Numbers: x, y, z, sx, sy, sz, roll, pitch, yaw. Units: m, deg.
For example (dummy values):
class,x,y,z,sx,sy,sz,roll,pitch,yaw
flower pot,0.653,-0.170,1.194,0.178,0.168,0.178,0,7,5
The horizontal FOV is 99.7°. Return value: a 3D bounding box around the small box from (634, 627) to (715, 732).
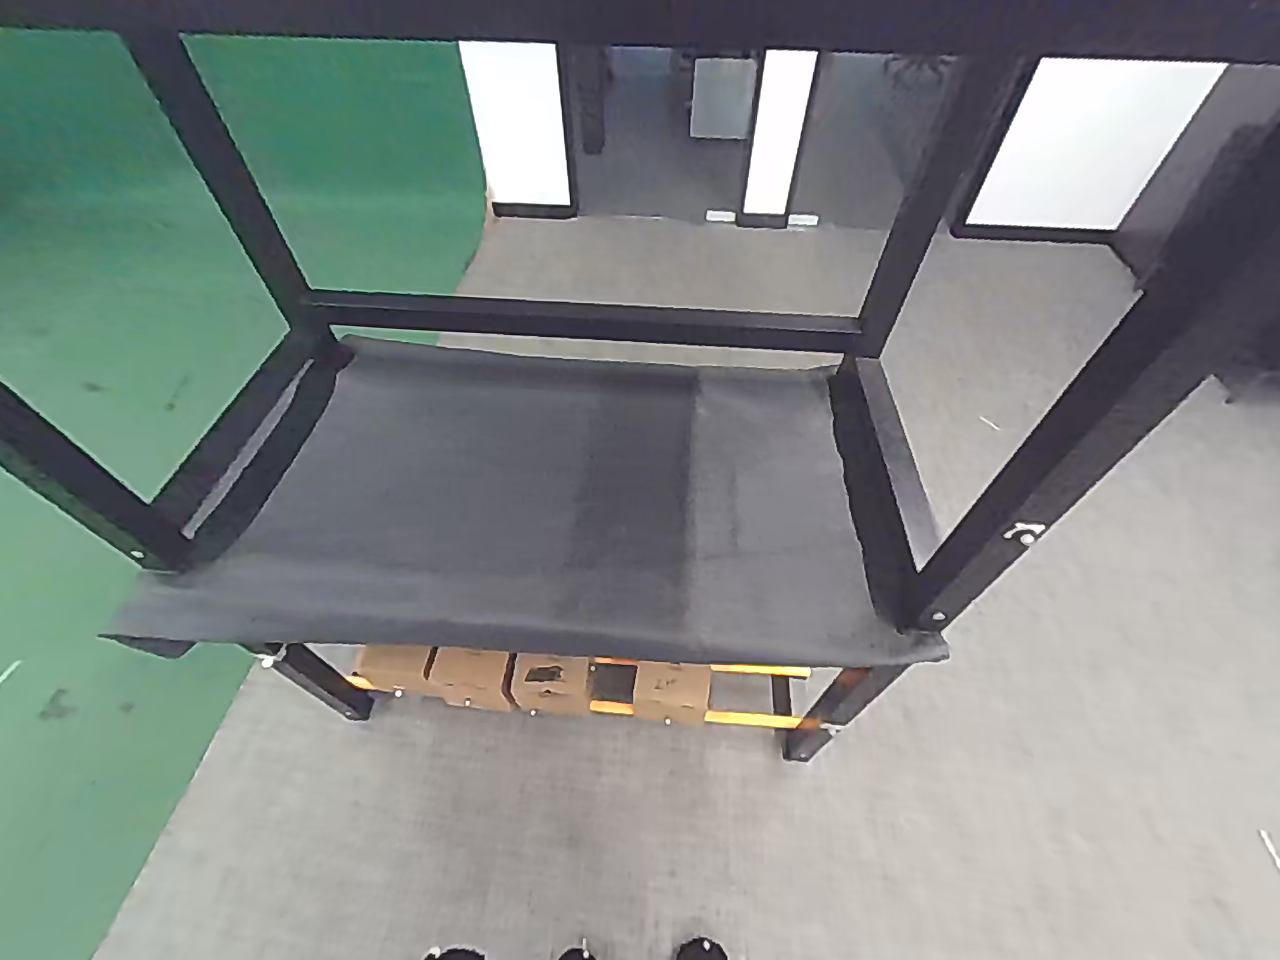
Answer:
class,x,y,z,sx,sy,sz,roll,pitch,yaw
small box,0.081,0.476,1.286,0.168,0.176,0.179,7,53,7
